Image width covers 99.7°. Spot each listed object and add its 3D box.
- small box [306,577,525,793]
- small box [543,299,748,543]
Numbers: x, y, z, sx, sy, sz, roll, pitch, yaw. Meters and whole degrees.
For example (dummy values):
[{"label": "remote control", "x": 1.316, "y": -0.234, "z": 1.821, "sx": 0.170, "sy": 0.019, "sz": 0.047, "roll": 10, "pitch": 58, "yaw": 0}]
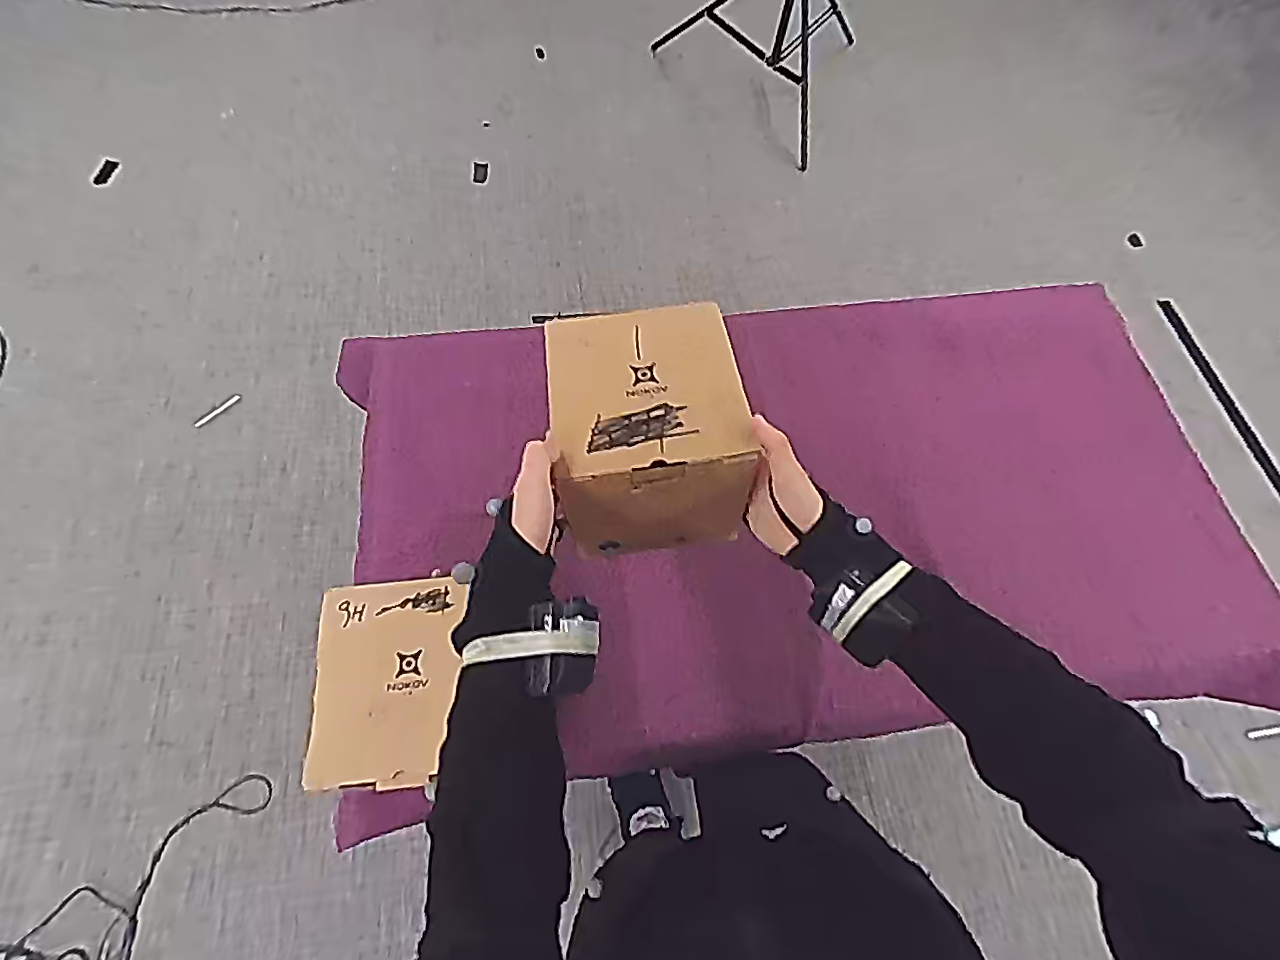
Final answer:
[{"label": "small box", "x": -0.217, "y": 0.211, "z": 0.571, "sx": 0.168, "sy": 0.176, "sz": 0.179, "roll": -4, "pitch": 68, "yaw": -5}, {"label": "small box", "x": 0.003, "y": -0.047, "z": 0.537, "sx": 0.168, "sy": 0.176, "sz": 0.179, "roll": -7, "pitch": 61, "yaw": -1}]
